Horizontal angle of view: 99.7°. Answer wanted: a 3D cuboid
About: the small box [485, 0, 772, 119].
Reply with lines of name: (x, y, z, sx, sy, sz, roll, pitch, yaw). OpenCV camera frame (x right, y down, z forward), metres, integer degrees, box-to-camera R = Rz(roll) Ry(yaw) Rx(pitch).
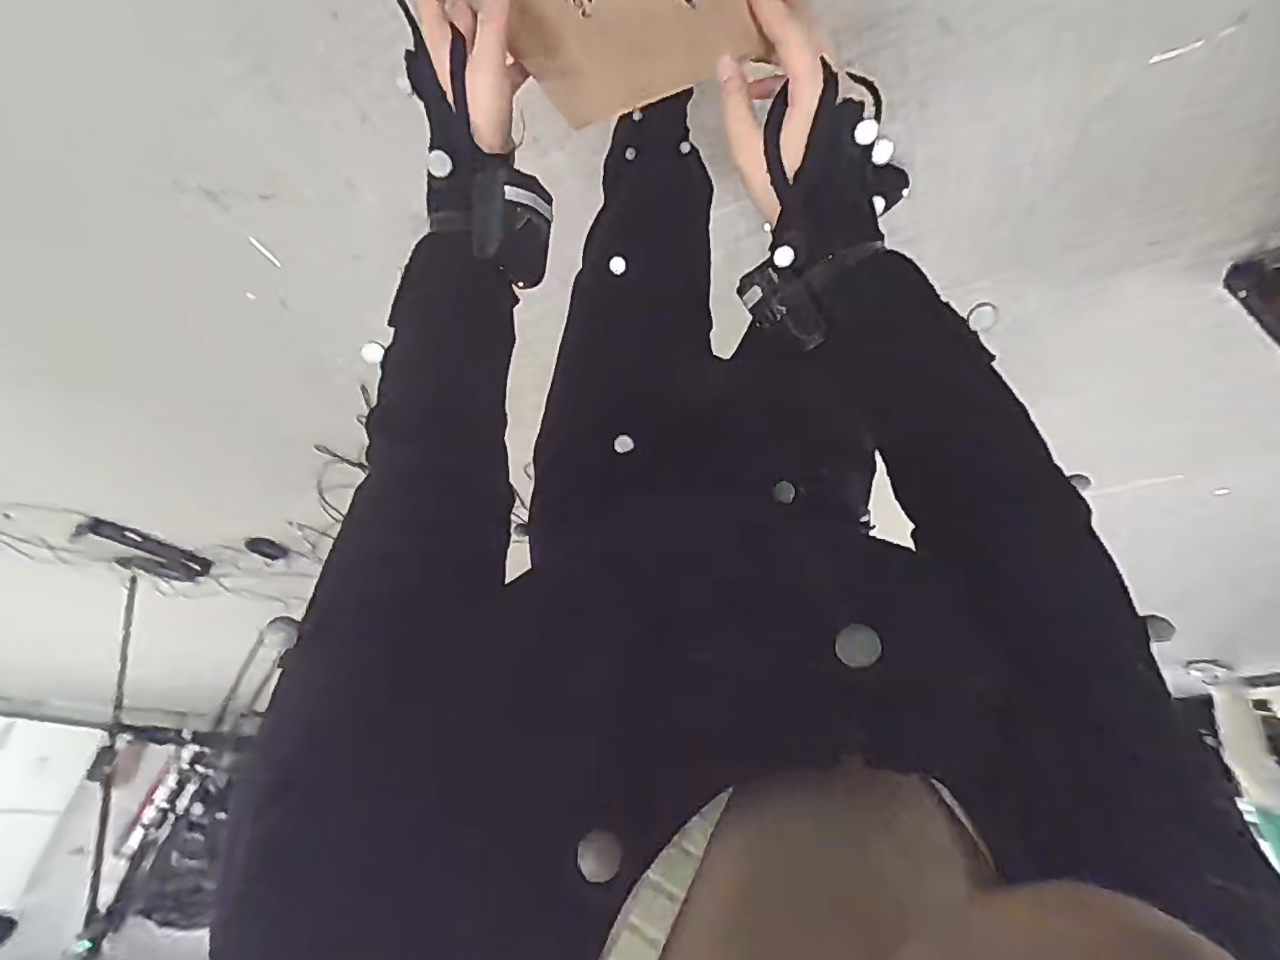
small box: (-0.003, -0.375, 0.331, 0.179, 0.176, 0.168, 14, 171, 40)
